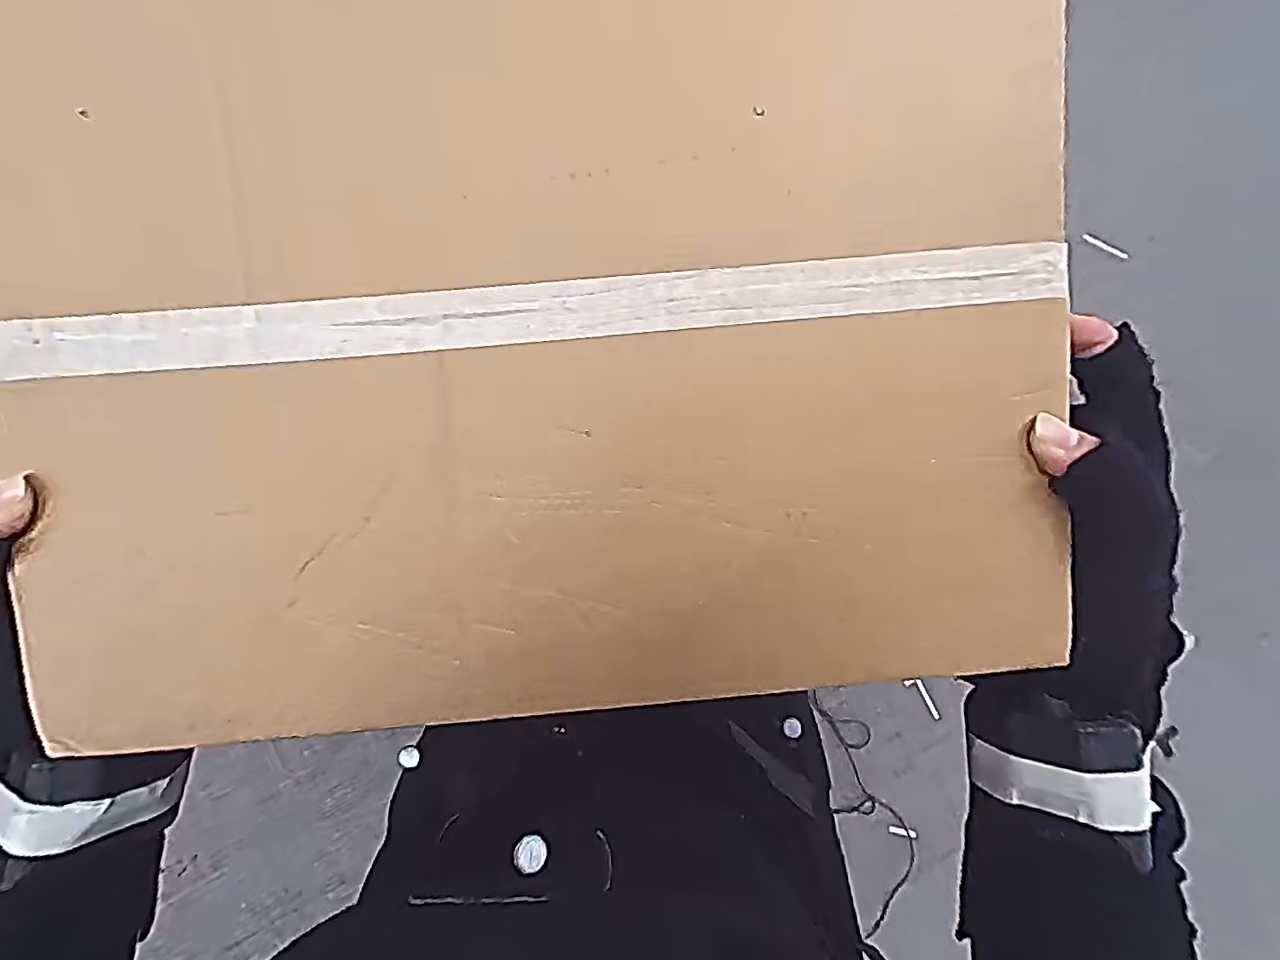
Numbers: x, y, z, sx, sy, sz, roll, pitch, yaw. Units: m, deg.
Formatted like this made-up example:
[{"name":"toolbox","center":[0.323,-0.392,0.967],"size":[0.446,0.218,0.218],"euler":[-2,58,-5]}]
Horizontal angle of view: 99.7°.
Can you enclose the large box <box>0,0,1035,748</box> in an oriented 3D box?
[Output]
[{"name":"large box","center":[-0.043,-0.073,0.363],"size":[0.408,0.320,0.320],"euler":[-5,95,-2]}]
